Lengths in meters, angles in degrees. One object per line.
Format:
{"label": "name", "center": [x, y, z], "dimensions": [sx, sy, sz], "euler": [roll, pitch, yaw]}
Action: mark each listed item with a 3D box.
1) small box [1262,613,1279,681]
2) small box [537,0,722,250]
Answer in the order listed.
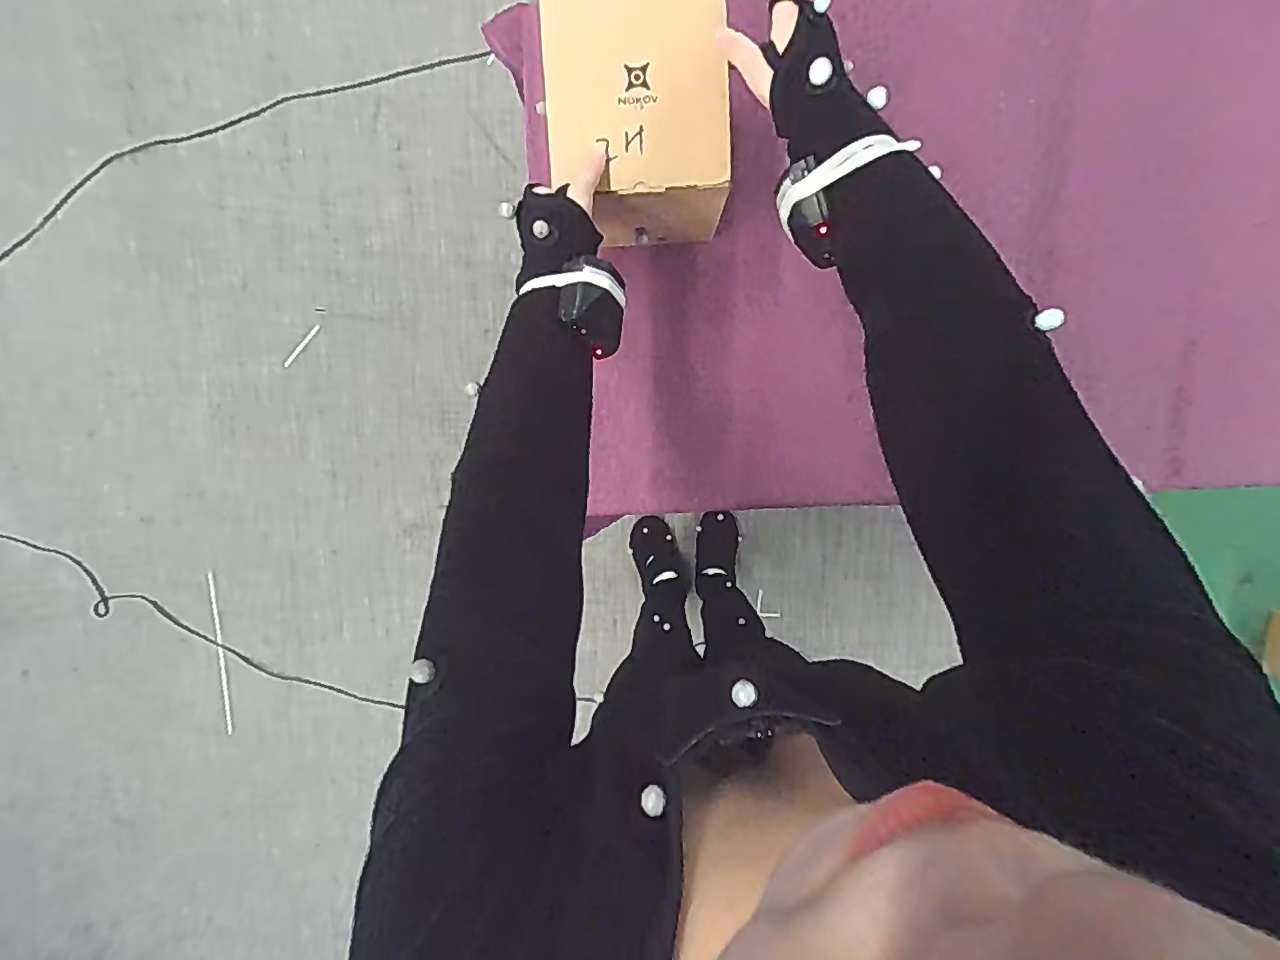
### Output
{"label": "small box", "center": [1.737, 0.449, 1.352], "dimensions": [0.168, 0.176, 0.179], "euler": [3, 96, 2]}
{"label": "small box", "center": [-0.007, -0.359, 0.565], "dimensions": [0.168, 0.176, 0.179], "euler": [-2, 98, 2]}
